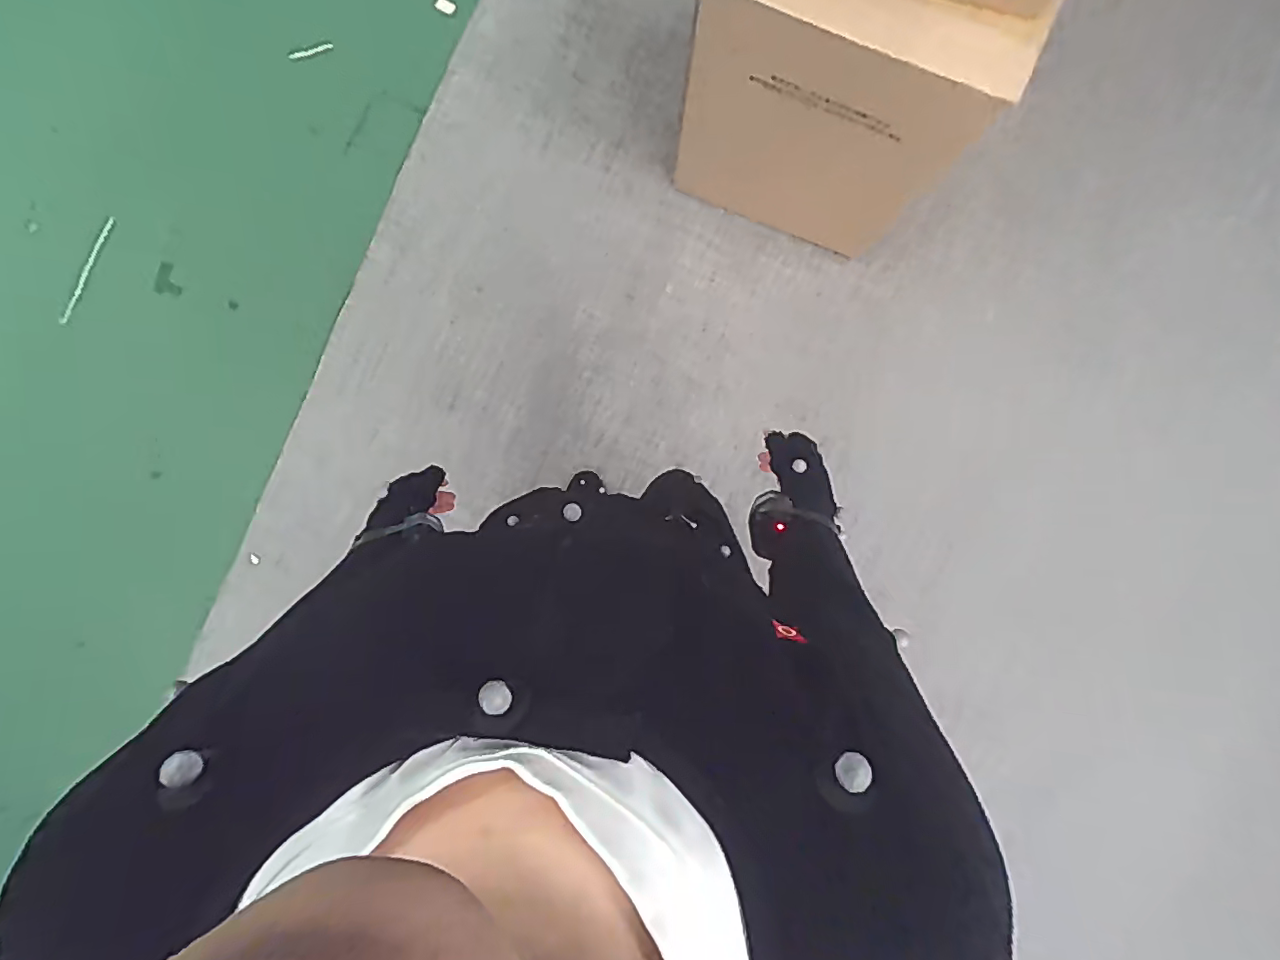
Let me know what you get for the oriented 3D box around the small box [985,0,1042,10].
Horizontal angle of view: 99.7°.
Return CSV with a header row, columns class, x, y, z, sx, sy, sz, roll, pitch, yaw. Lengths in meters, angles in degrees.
class,x,y,z,sx,sy,sz,roll,pitch,yaw
small box,0.537,-0.793,0.729,0.179,0.176,0.168,14,92,1
